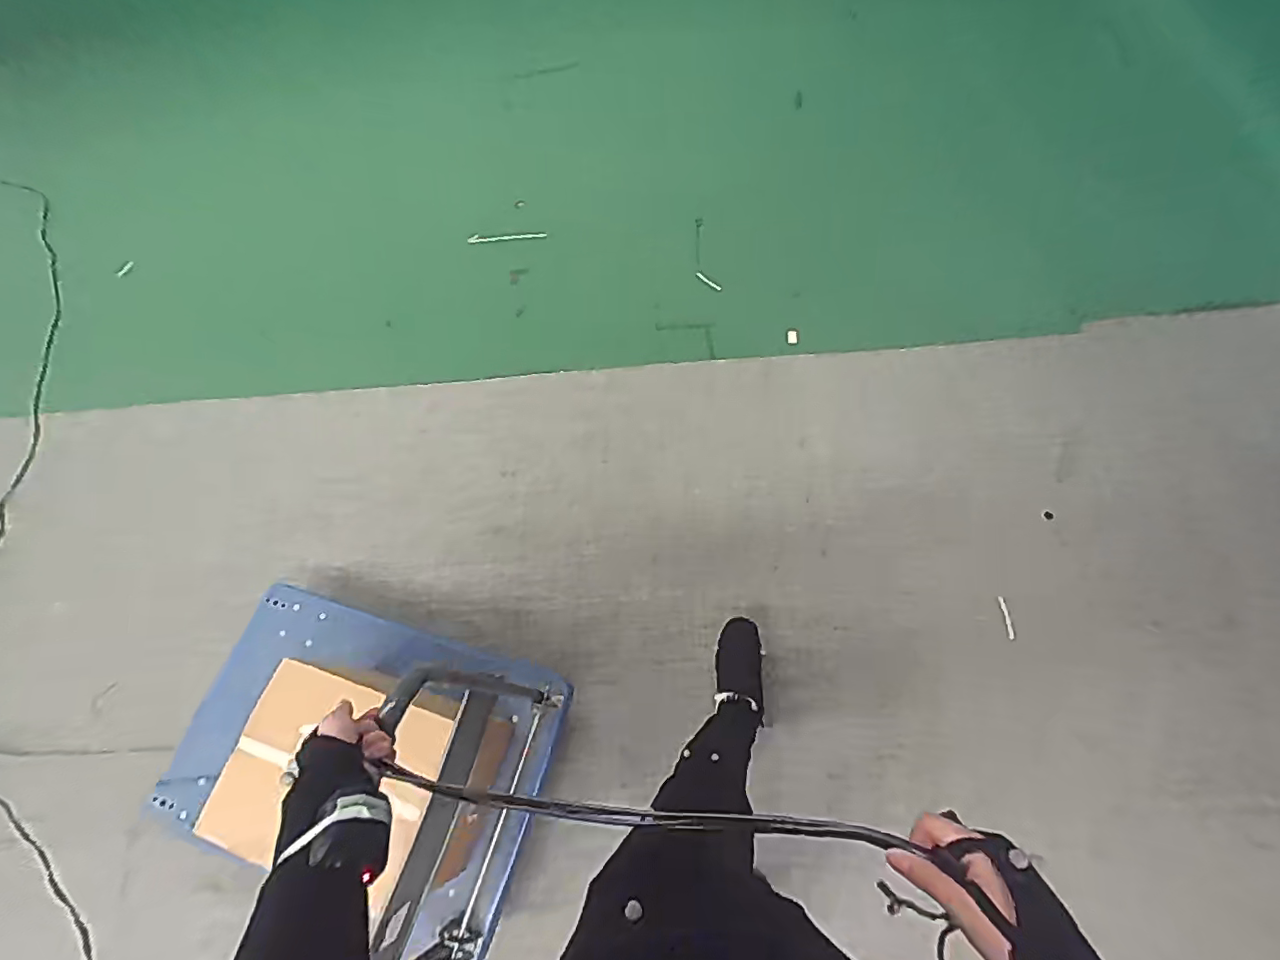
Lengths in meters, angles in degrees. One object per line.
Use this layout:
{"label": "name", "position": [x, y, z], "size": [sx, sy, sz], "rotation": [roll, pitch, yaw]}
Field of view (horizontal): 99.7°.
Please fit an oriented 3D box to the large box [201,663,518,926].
{"label": "large box", "position": [-0.519, 0.591, 1.089], "size": [0.408, 0.320, 0.320], "rotation": [15, 69, 12]}
